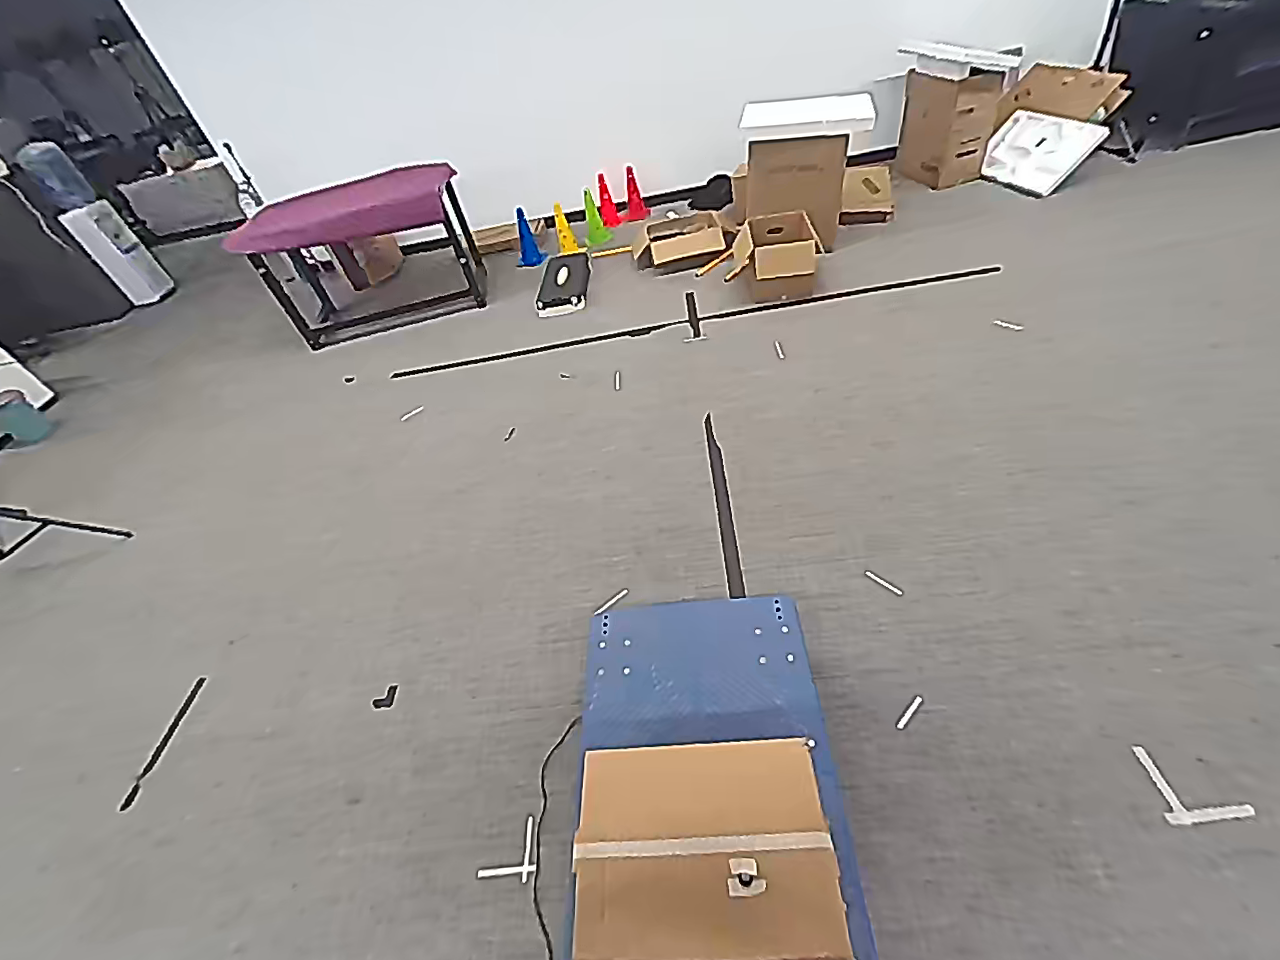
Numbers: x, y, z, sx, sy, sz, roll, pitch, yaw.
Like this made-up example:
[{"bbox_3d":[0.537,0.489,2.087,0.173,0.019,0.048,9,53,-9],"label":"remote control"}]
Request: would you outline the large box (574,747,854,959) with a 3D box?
[{"bbox_3d":[0.118,0.704,0.954,0.408,0.320,0.320,-7,44,6],"label":"large box"}]
